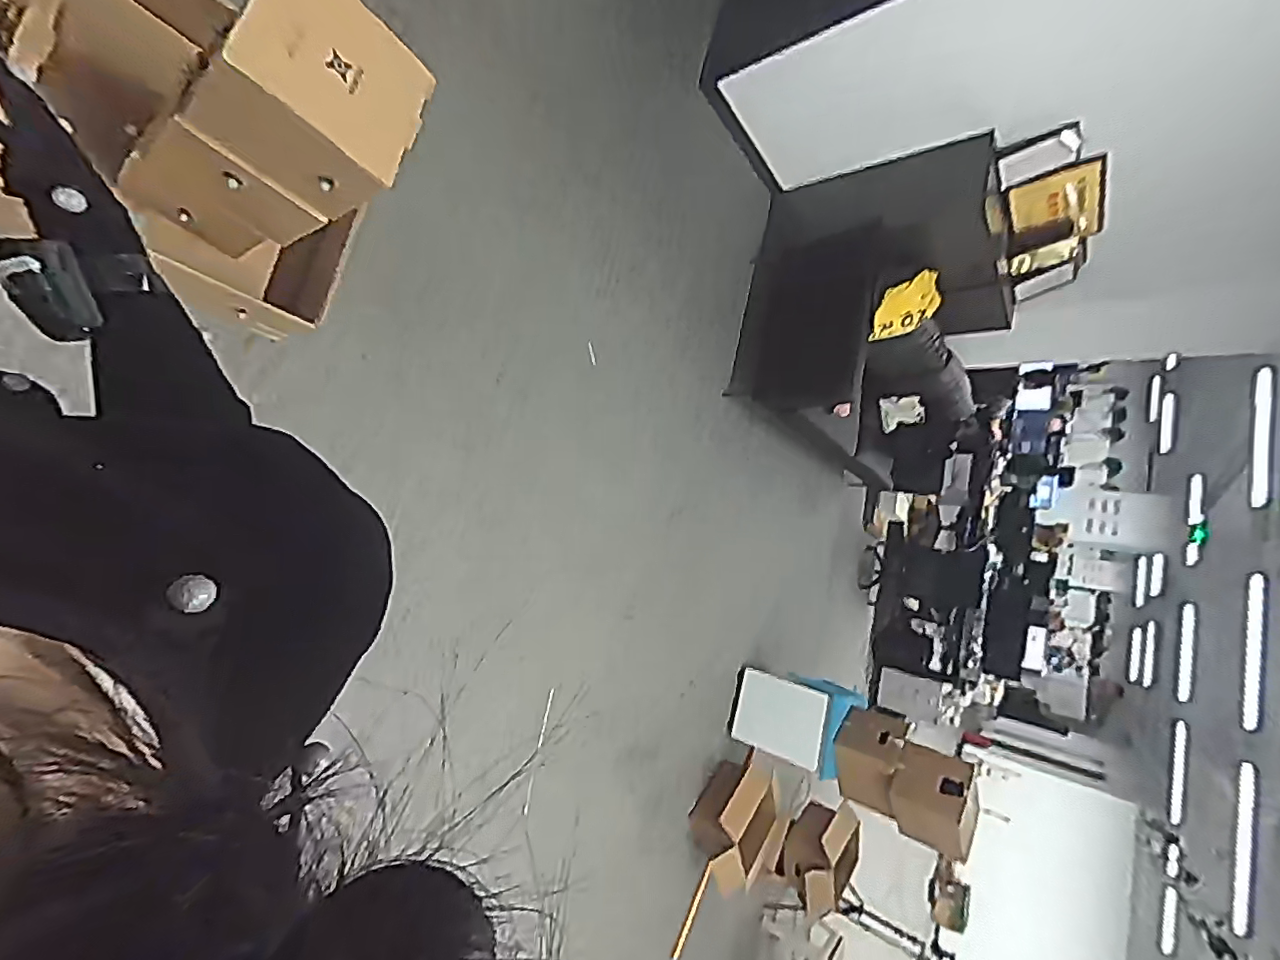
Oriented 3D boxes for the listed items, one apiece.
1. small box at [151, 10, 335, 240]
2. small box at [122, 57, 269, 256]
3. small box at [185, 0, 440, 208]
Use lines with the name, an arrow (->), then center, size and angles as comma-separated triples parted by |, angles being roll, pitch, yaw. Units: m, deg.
small box -> -0.506, -0.452, 0.726 | 0.179, 0.176, 0.168 | 31, 71, -48
small box -> -0.639, -0.471, 0.820 | 0.168, 0.176, 0.179 | 33, 70, -47
small box -> -0.376, -0.446, 0.628 | 0.179, 0.176, 0.168 | 30, 71, -47
